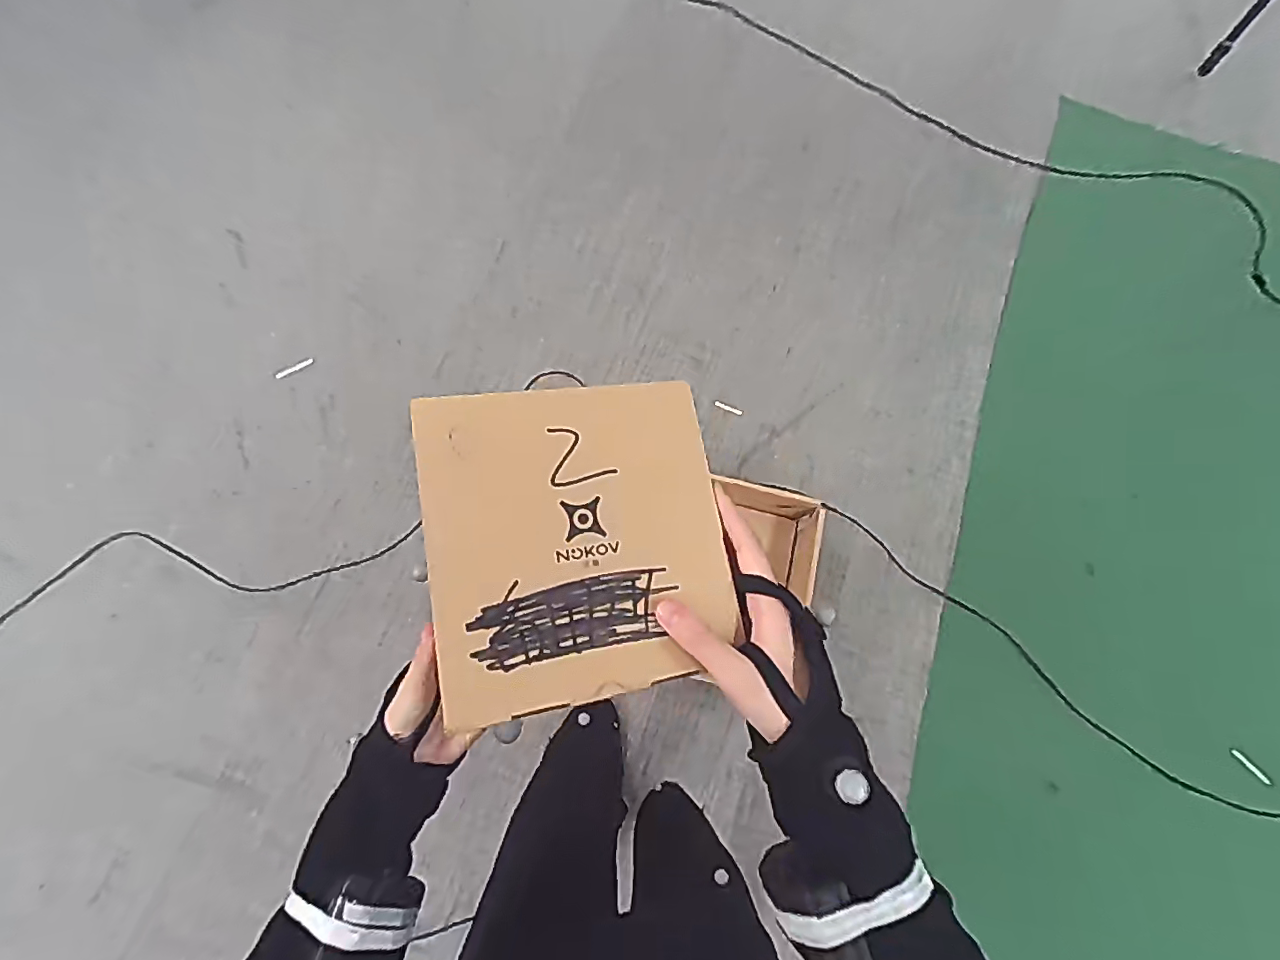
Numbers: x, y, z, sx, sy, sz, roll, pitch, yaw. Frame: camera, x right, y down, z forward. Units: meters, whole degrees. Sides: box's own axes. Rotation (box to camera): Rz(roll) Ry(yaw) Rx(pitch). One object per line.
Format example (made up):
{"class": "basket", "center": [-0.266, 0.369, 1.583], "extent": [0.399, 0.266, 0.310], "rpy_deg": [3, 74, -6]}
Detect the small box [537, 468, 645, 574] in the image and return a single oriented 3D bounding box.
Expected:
{"class": "small box", "center": [-0.096, 0.093, 1.129], "extent": [0.179, 0.176, 0.168], "rpy_deg": [15, 75, 2]}
